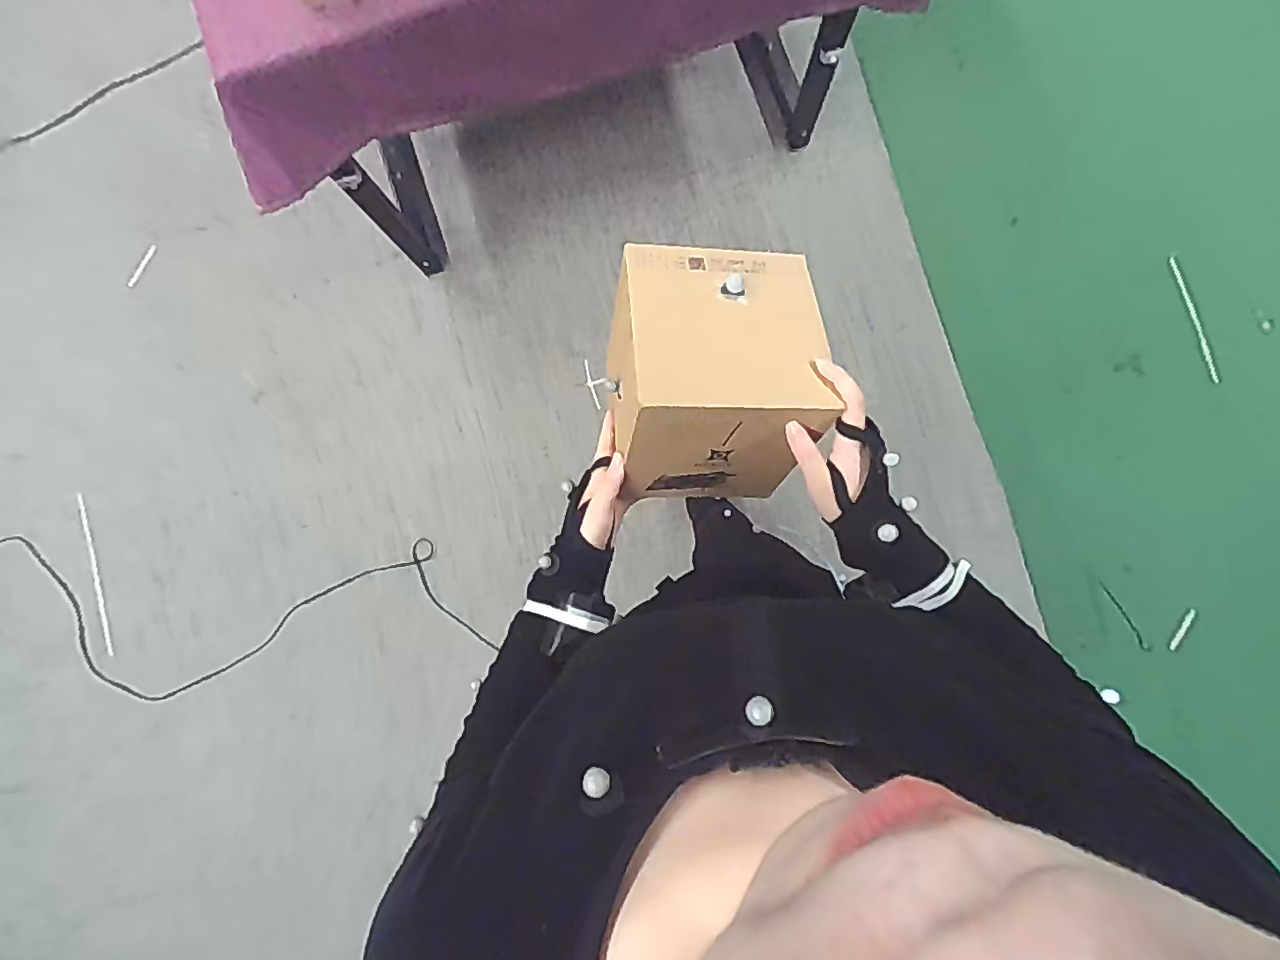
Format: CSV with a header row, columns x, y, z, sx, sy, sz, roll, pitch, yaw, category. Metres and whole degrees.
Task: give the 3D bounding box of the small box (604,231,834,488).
x,y,z,sx,sy,sz,roll,pitch,yaw,category
0.056,-0.103,0.517,0.168,0.179,0.176,-1,64,-10,small box
